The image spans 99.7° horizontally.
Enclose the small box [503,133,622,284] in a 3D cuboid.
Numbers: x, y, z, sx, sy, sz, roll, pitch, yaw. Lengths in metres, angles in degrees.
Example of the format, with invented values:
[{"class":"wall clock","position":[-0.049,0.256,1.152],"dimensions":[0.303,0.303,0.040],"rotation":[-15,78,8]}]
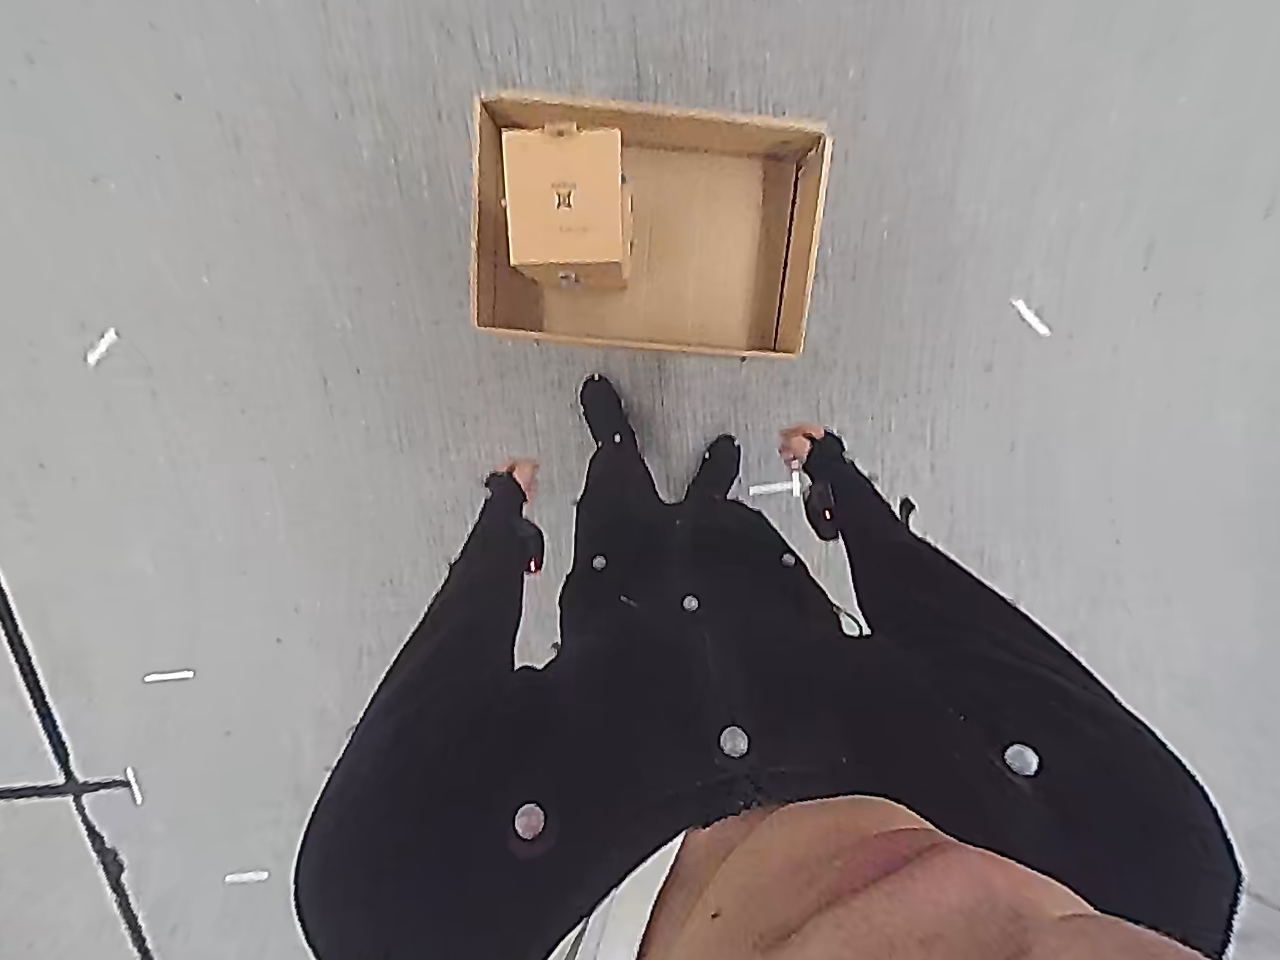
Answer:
[{"class":"small box","position":[-0.112,-0.412,0.845],"dimensions":[0.168,0.176,0.179],"rotation":[-1,102,-1]}]

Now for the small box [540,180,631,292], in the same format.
[{"class":"small box","position":[-0.108,-0.446,1.006],"dimensions":[0.179,0.176,0.168],"rotation":[1,103,-3]}]
